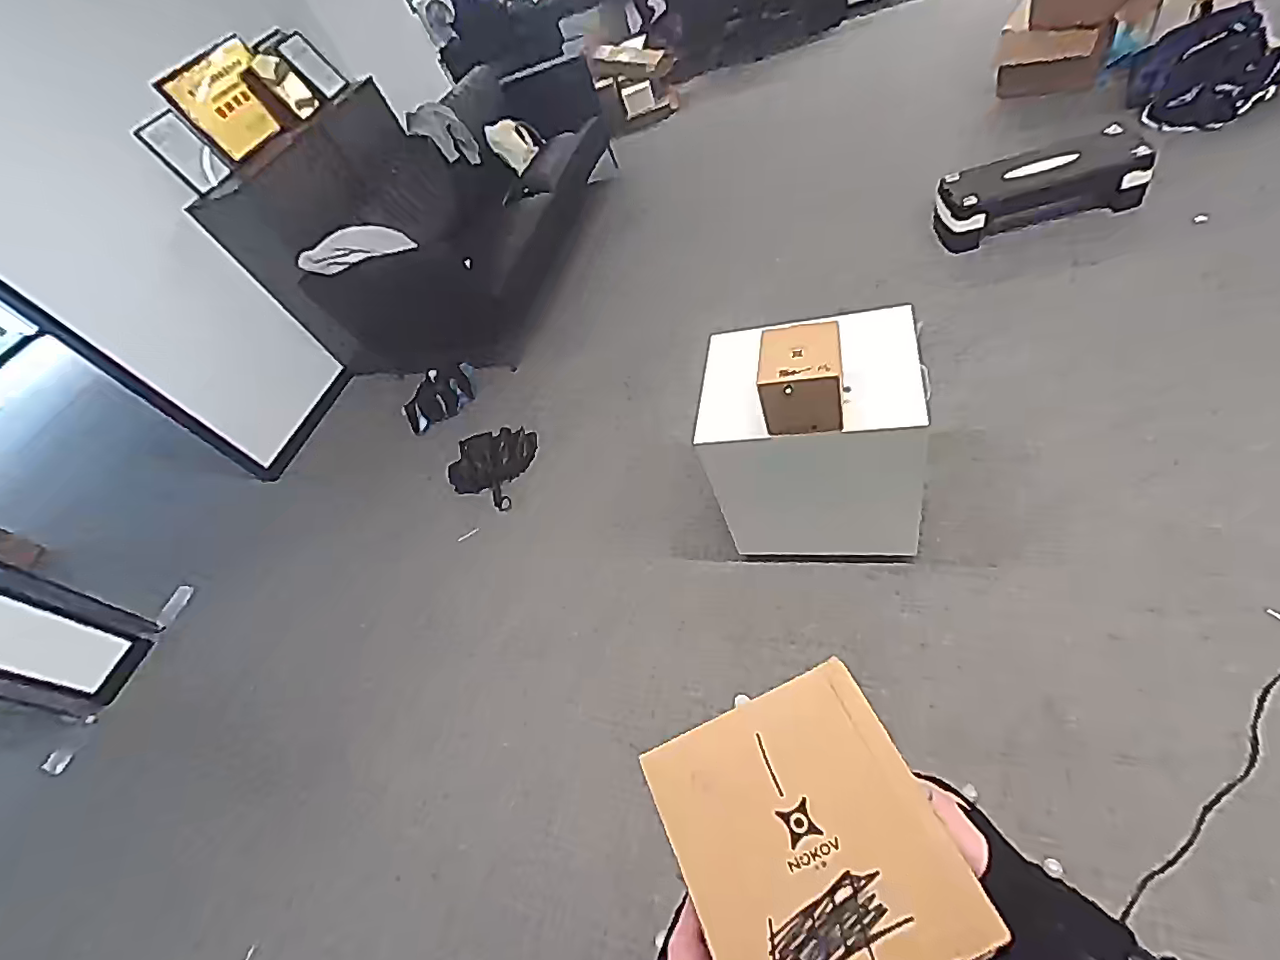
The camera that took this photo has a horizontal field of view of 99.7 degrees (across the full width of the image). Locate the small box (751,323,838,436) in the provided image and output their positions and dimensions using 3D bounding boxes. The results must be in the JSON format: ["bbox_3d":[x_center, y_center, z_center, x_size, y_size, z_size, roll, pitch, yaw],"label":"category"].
[{"bbox_3d":[0.348,-0.219,1.204,0.168,0.176,0.179,-3,51,22],"label":"small box"}]
